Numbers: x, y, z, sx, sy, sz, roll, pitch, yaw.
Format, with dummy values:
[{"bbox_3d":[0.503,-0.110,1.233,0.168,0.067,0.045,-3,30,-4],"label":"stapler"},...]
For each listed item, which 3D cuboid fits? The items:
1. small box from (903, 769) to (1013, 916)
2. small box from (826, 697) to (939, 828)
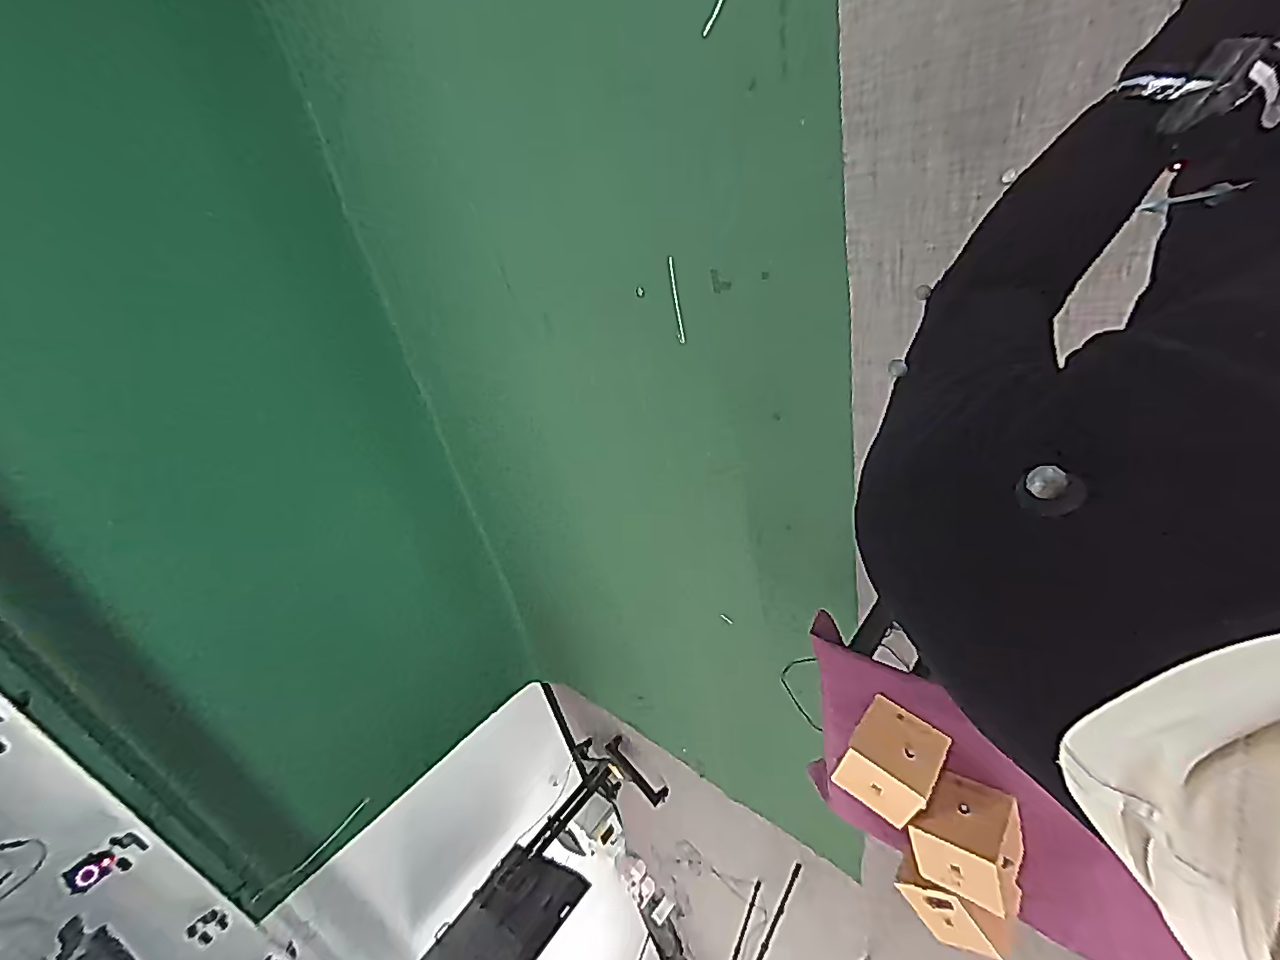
[{"bbox_3d":[0.699,0.779,1.184,0.168,0.176,0.179,2,119,46],"label":"small box"},{"bbox_3d":[0.551,0.632,1.226,0.168,0.176,0.179,28,138,27],"label":"small box"}]
